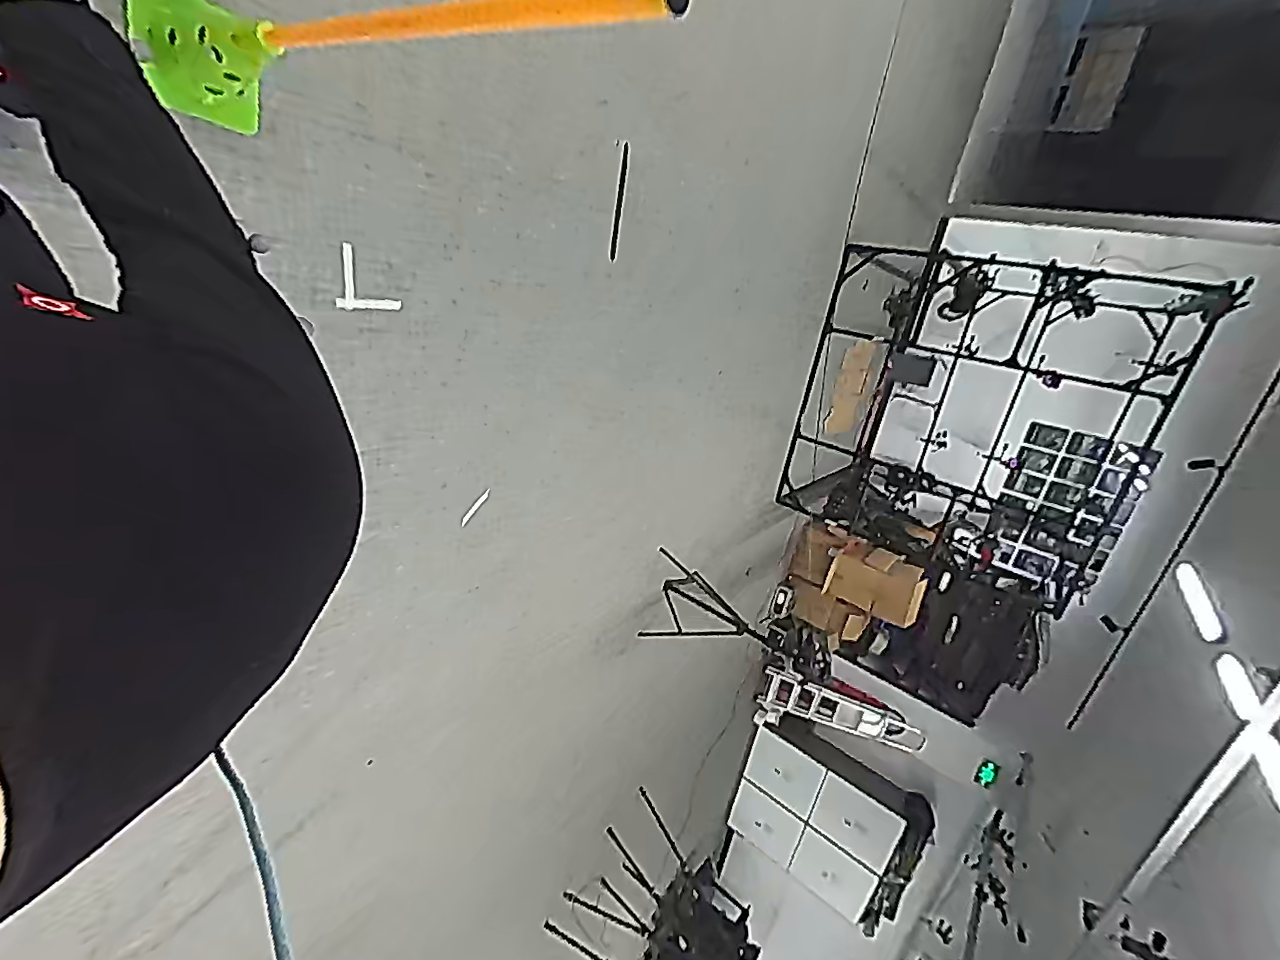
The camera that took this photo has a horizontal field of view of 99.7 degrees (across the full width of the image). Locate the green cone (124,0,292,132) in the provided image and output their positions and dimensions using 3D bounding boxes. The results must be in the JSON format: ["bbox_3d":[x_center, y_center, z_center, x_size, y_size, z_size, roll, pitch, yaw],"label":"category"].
[{"bbox_3d":[-0.712,-0.747,0.940,0.202,0.368,0.200,-11,119,-53],"label":"green cone"}]
